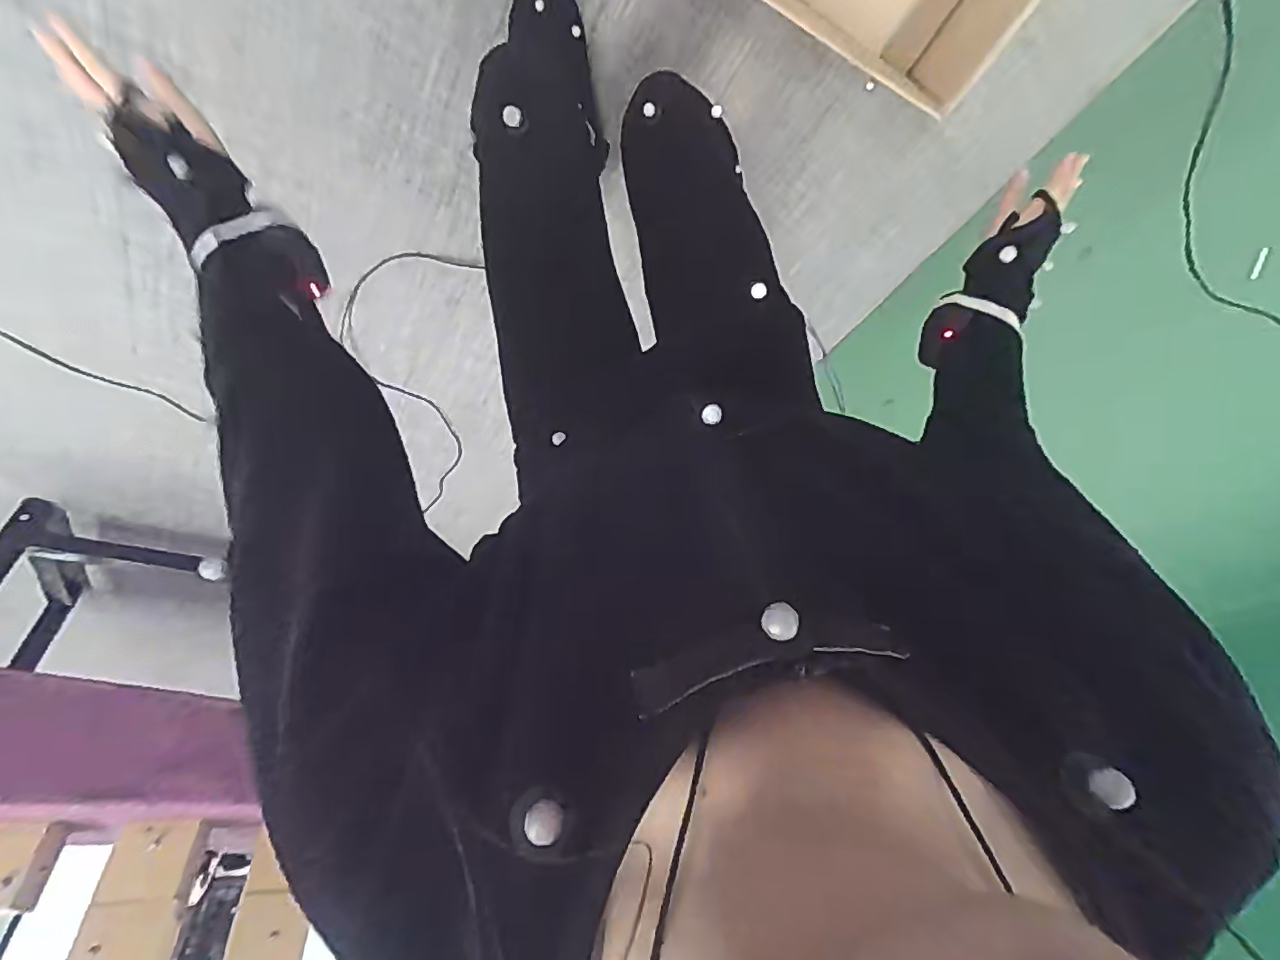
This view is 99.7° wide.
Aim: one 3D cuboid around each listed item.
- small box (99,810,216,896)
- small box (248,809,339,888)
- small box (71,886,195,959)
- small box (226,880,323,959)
[{"bbox_3d":[-1.241,0.971,1.409,0.168,0.176,0.179,11,138,-22],"label":"small box"},{"bbox_3d":[-0.981,1.046,1.535,0.179,0.176,0.168,16,138,-25],"label":"small box"},{"bbox_3d":[-1.224,1.099,1.308,0.179,0.176,0.168,13,140,-23],"label":"small box"},{"bbox_3d":[-0.969,1.175,1.435,0.179,0.176,0.168,15,137,-26],"label":"small box"}]
